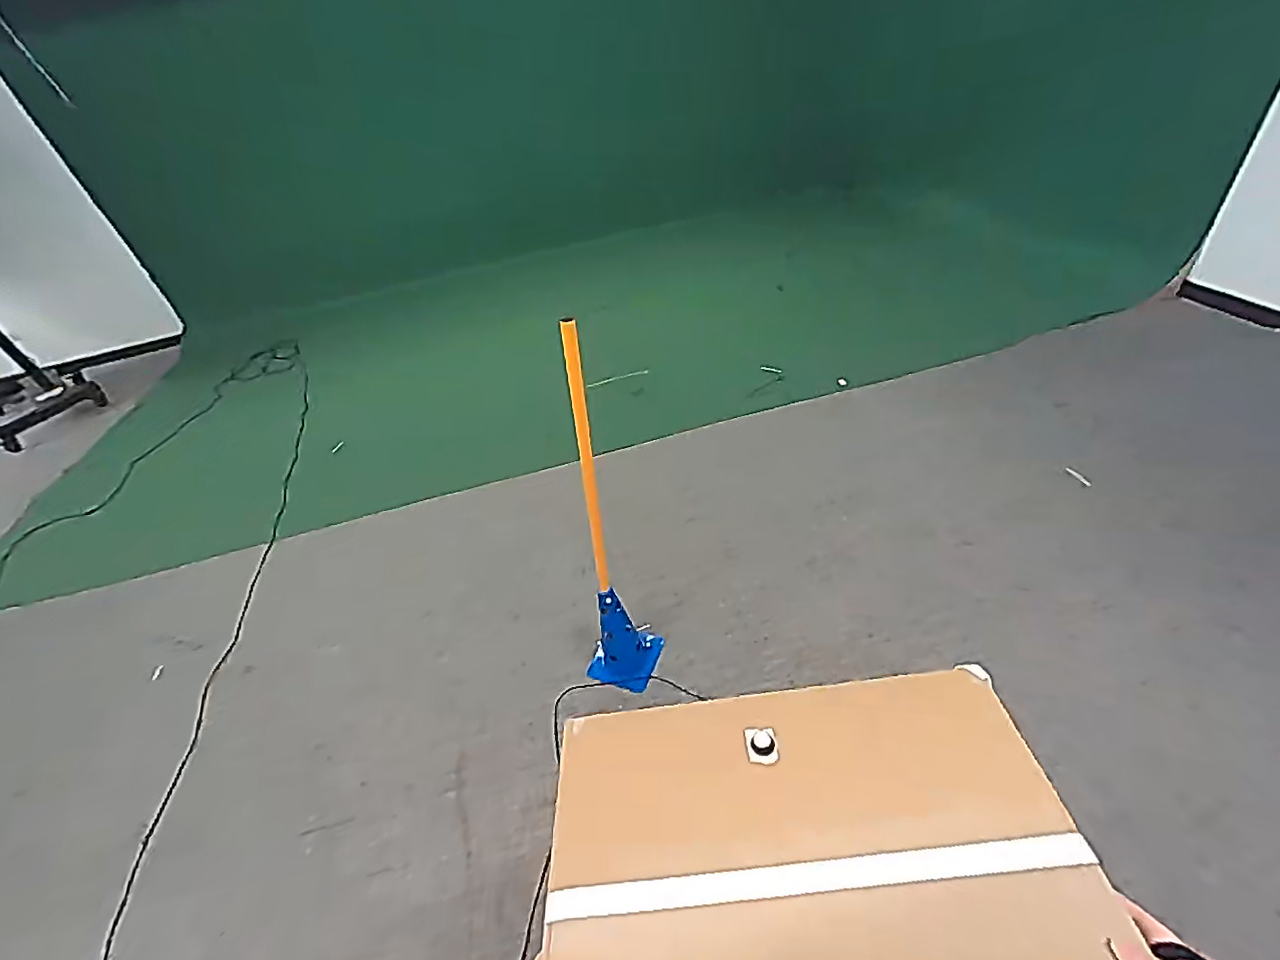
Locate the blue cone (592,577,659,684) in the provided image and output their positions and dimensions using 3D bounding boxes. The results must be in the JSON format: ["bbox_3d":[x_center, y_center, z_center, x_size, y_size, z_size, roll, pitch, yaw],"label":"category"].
[{"bbox_3d":[-0.069,0.422,1.606,0.192,0.380,0.193,8,43,20],"label":"blue cone"}]
